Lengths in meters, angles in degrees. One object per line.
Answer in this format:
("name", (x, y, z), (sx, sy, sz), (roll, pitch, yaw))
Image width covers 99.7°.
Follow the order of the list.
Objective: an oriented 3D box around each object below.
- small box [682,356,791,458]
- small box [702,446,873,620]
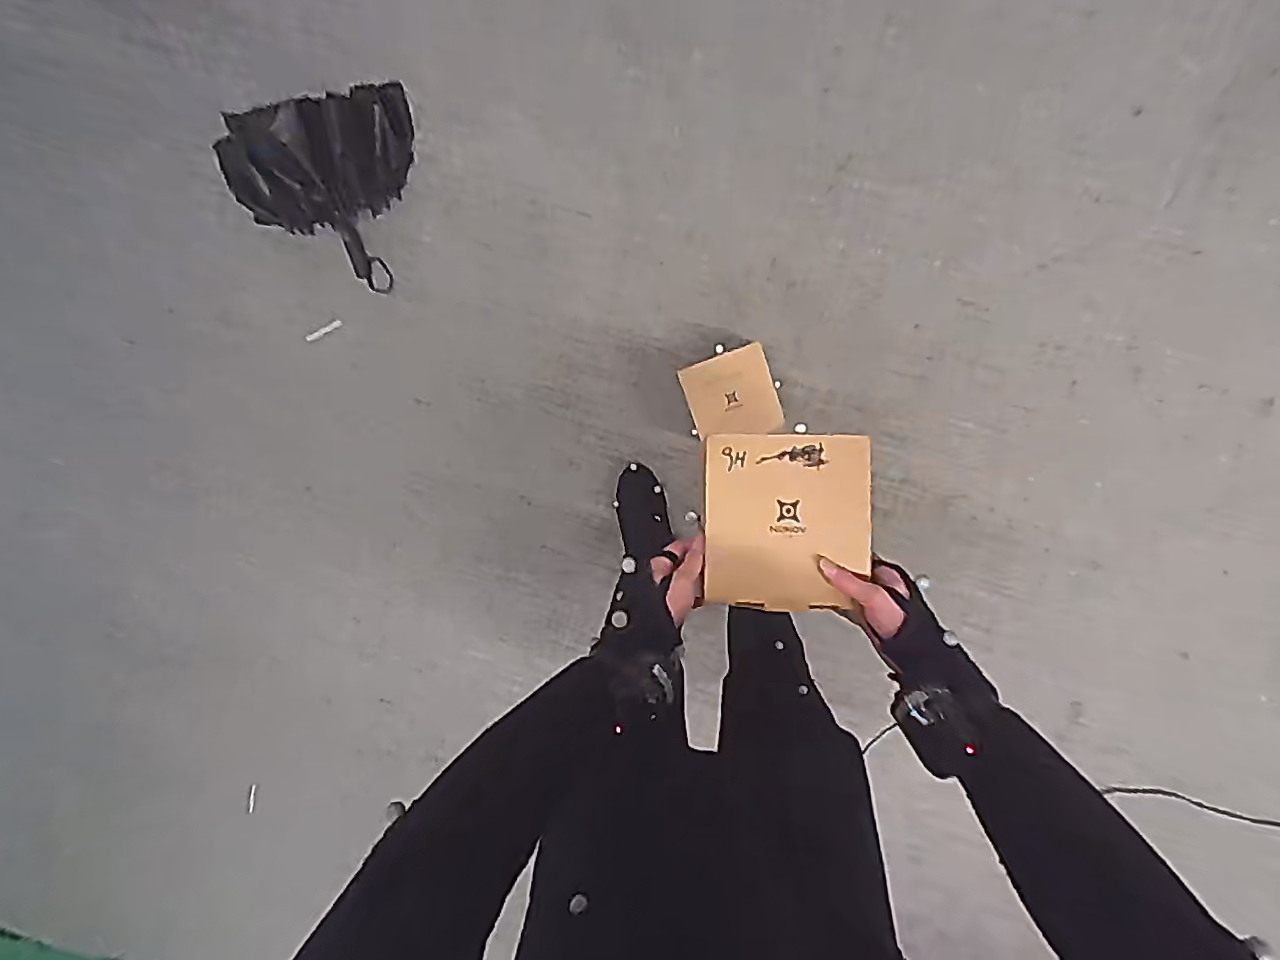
("small box", (0.196, -0.145, 1.114), (0.168, 0.176, 0.179), (-20, 98, 10))
("small box", (0.160, 0.057, 0.632), (0.168, 0.176, 0.179), (1, 86, 4))
